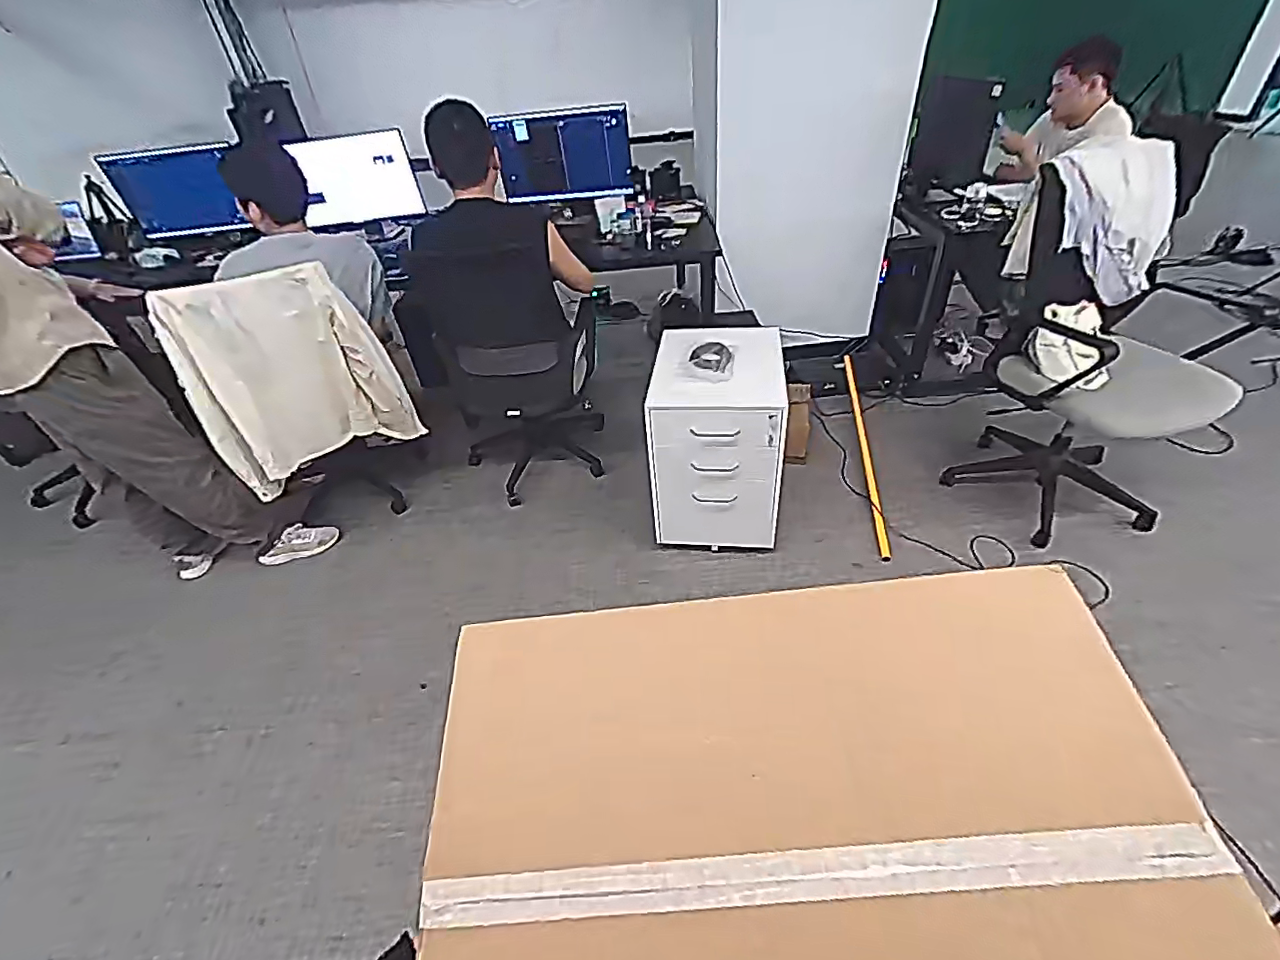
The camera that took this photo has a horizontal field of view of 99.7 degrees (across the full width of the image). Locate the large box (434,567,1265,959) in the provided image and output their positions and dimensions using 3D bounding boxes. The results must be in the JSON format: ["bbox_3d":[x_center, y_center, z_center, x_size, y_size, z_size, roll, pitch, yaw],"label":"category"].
[{"bbox_3d":[0.104,0.295,0.407,0.408,0.320,0.320,-7,54,4],"label":"large box"}]
